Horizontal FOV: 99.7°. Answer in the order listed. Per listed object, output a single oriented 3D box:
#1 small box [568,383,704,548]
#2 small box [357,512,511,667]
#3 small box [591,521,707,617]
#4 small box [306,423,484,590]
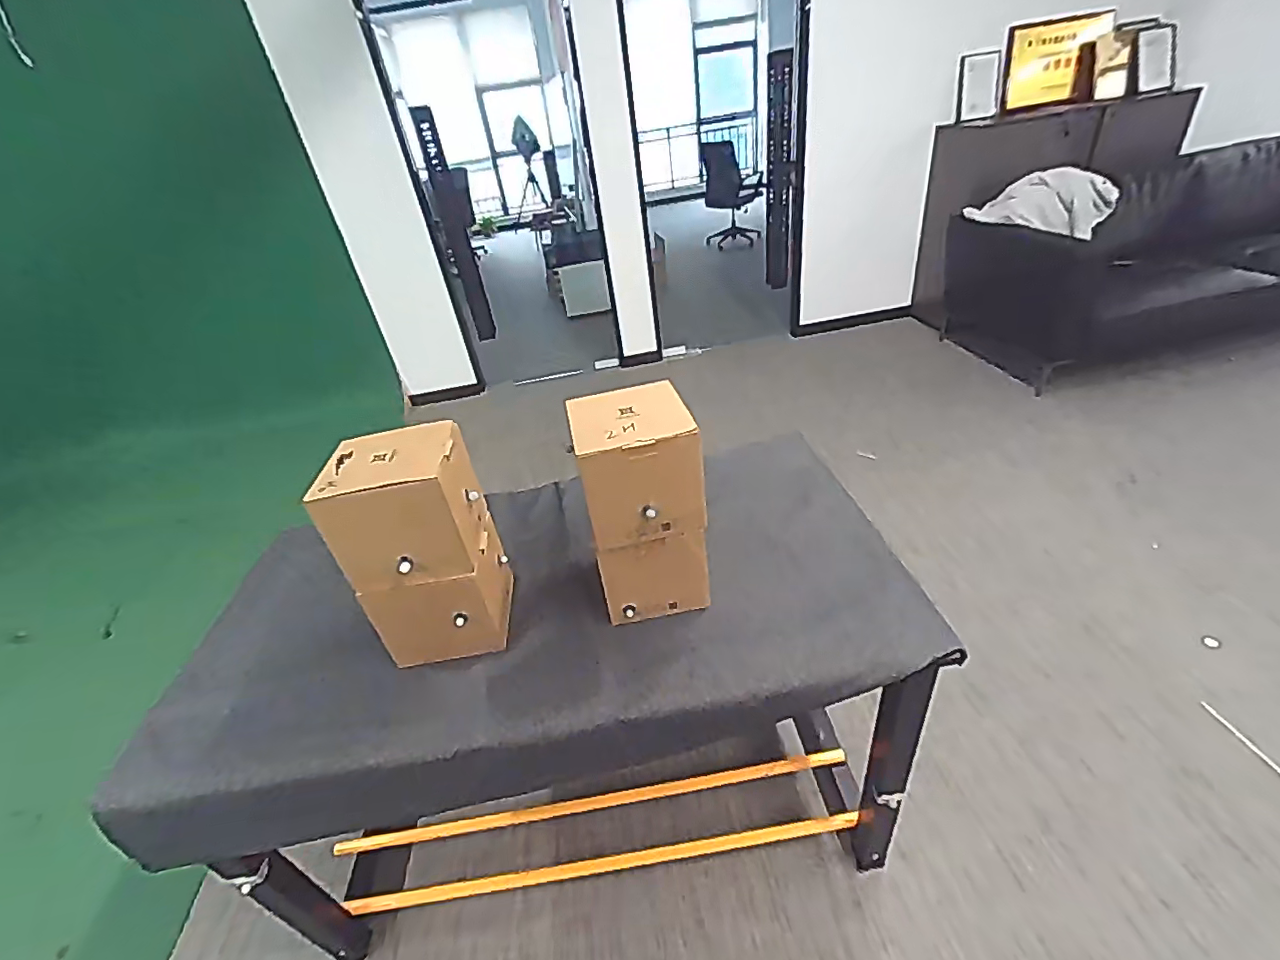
[{"bbox_3d":[-0.007,-0.025,0.814,0.168,0.176,0.179,-13,34,-5],"label":"small box"},{"bbox_3d":[-0.318,0.178,0.883,0.179,0.176,0.168,-10,32,-1],"label":"small box"},{"bbox_3d":[0.012,0.110,0.907,0.168,0.176,0.179,-10,33,-3],"label":"small box"},{"bbox_3d":[-0.341,0.038,0.800,0.179,0.176,0.168,-10,33,-3],"label":"small box"}]
